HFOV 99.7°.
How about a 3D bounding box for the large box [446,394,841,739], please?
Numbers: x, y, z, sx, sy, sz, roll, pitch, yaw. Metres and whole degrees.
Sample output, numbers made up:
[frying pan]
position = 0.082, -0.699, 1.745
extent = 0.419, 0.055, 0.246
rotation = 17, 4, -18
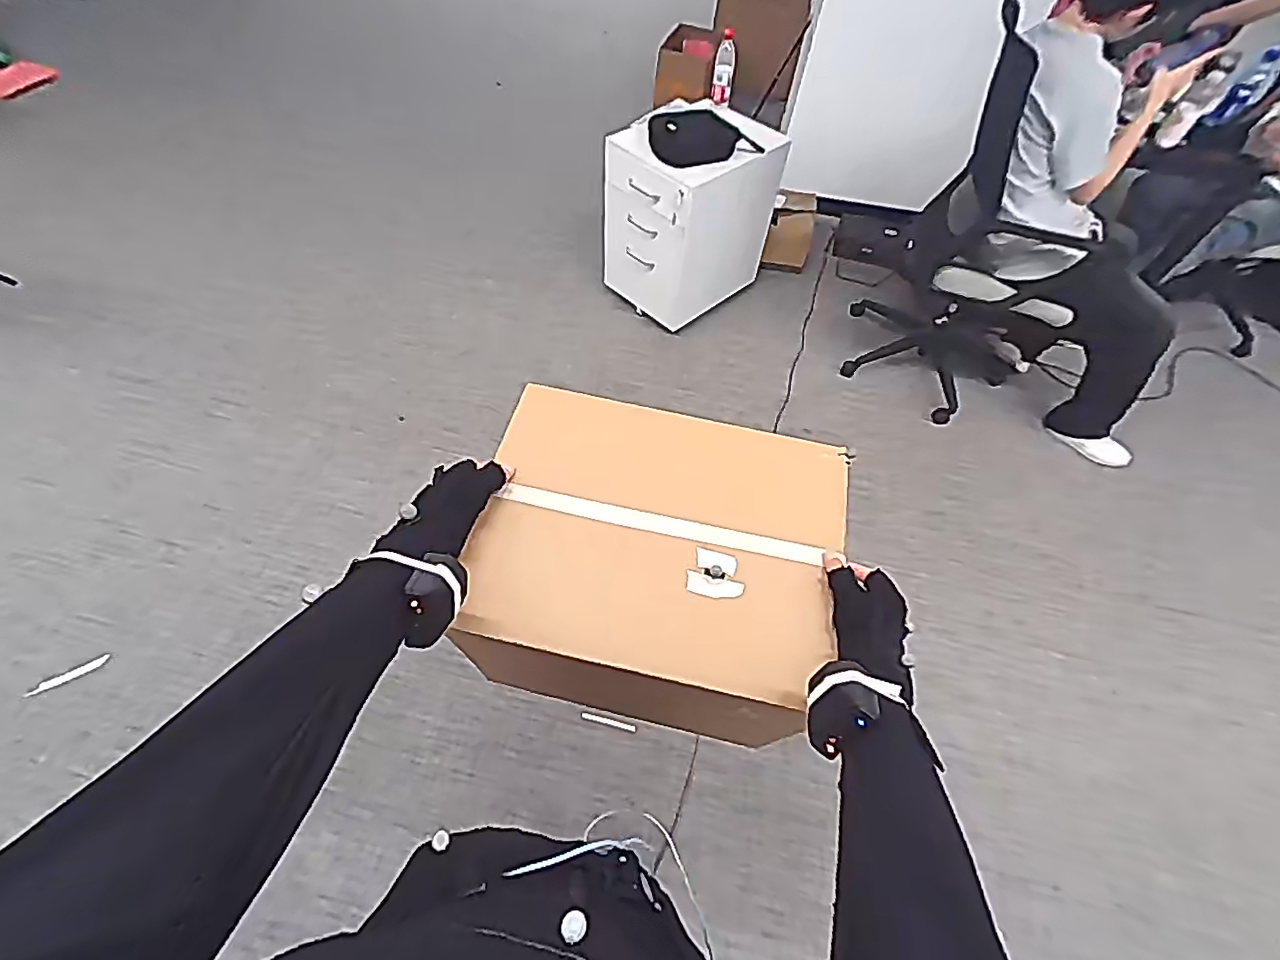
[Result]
[large box]
position = 0.015, 0.131, 0.734
extent = 0.408, 0.320, 0.320
rotation = 13, 60, 3
